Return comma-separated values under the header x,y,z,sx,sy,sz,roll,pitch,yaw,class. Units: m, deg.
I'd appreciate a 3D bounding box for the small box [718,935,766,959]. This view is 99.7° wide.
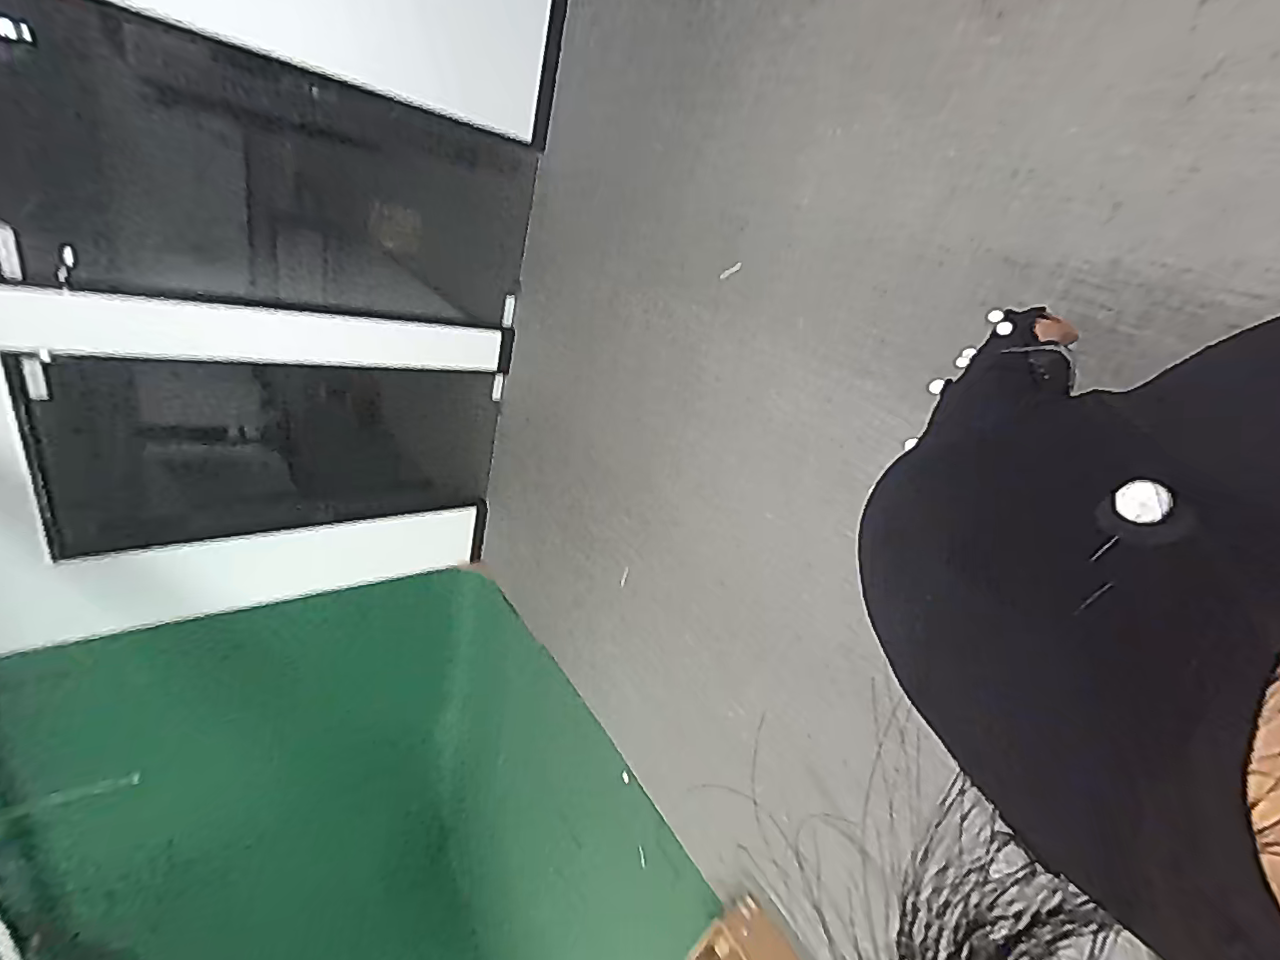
x,y,z,sx,sy,sz,roll,pitch,yaw,class
0.371,1.852,2.005,0.168,0.176,0.179,48,127,34,small box
